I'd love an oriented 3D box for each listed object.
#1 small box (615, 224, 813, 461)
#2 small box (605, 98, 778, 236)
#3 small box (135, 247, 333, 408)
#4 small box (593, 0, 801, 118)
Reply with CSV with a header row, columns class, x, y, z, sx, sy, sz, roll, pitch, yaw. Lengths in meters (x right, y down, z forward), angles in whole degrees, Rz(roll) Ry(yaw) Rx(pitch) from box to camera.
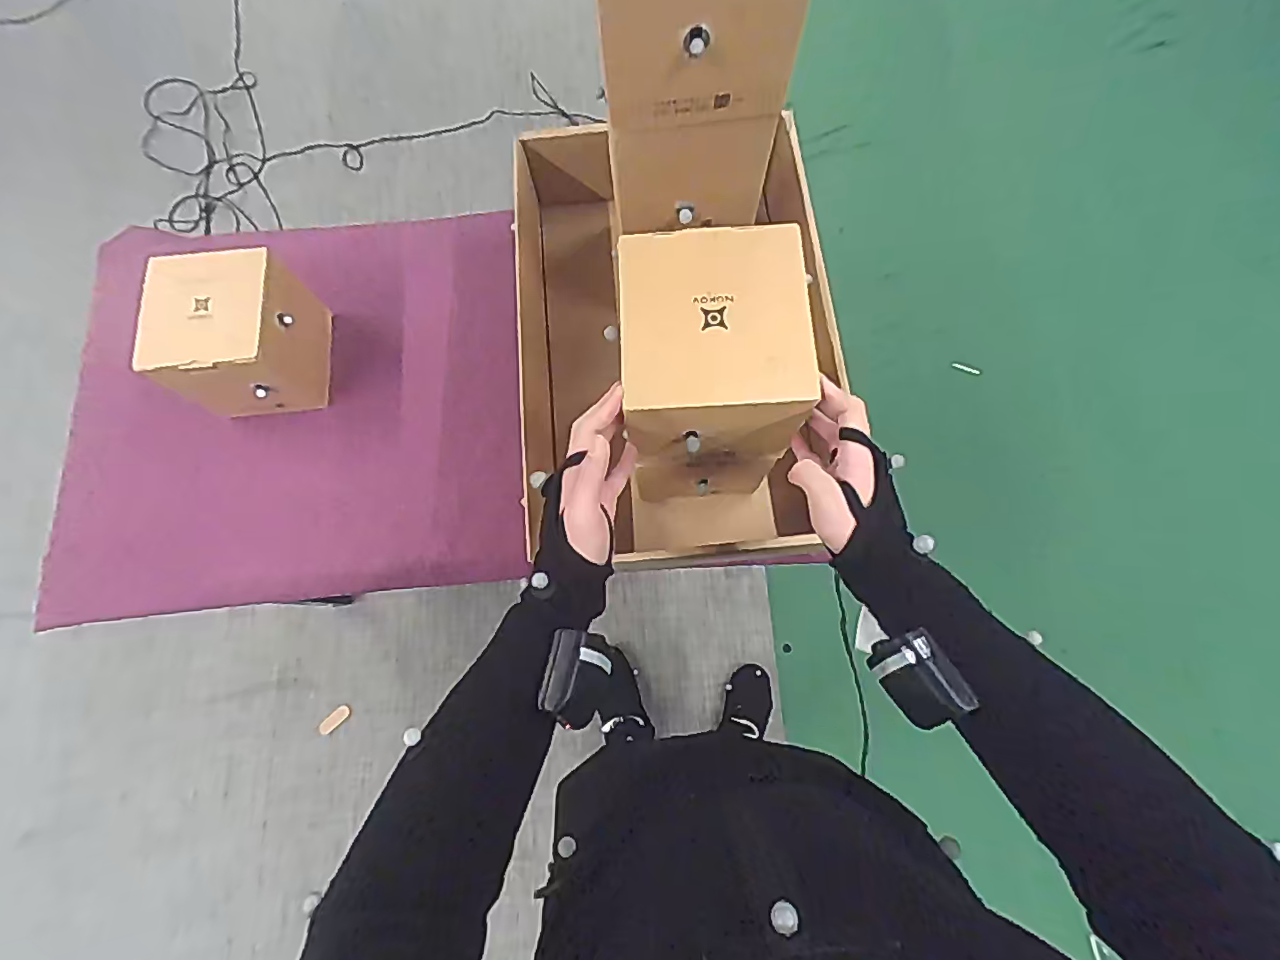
class,x,y,z,sx,sy,sz,roll,pitch,yaw
small box,0.066,-0.122,0.544,0.168,0.176,0.179,-3,74,3
small box,0.046,-0.404,0.614,0.168,0.176,0.179,-7,77,1
small box,-0.587,-0.215,0.806,0.168,0.176,0.179,-5,75,-1
small box,0.041,-0.438,0.452,0.168,0.176,0.179,-6,77,0
